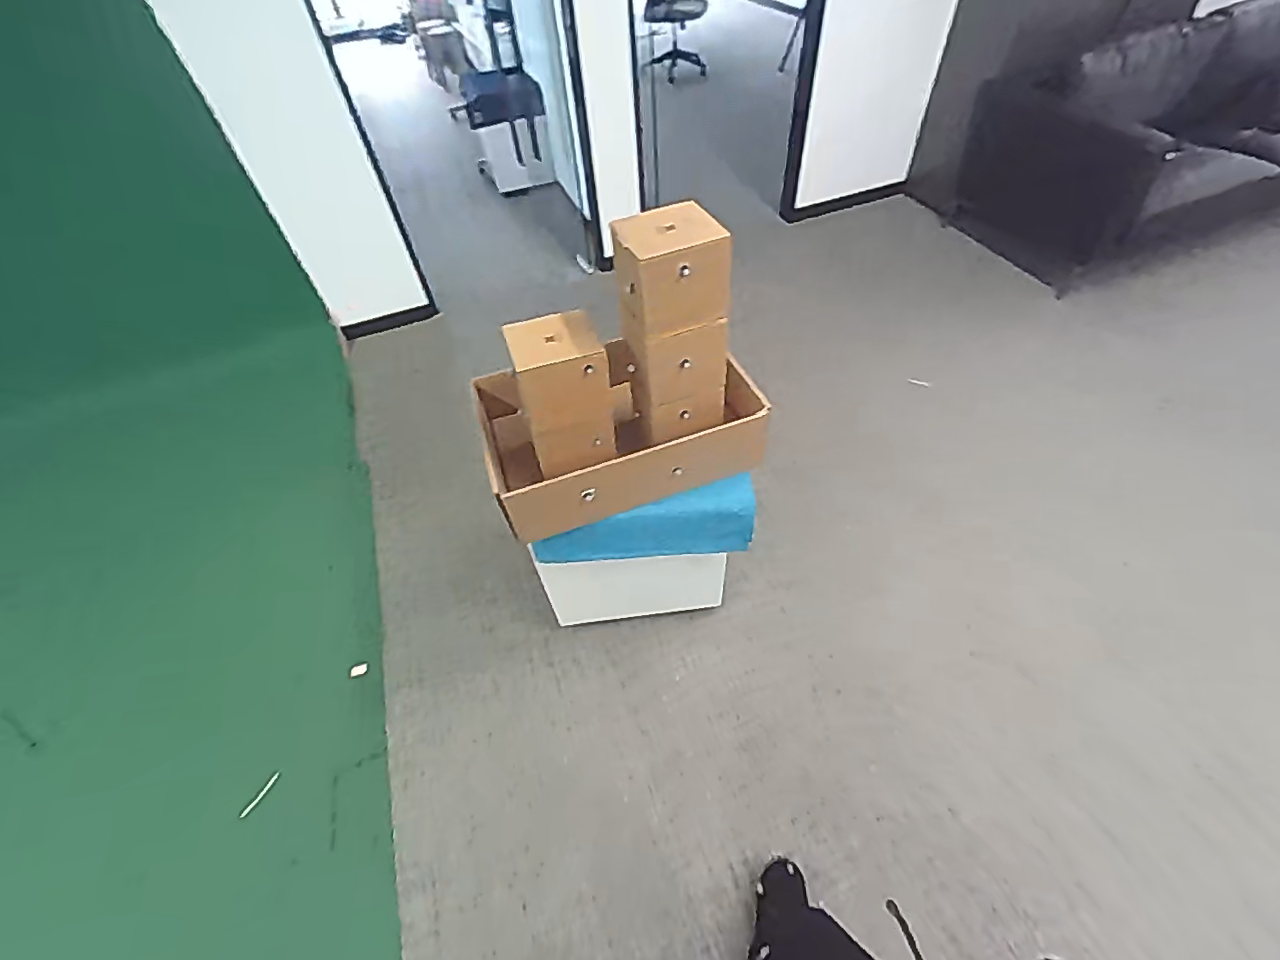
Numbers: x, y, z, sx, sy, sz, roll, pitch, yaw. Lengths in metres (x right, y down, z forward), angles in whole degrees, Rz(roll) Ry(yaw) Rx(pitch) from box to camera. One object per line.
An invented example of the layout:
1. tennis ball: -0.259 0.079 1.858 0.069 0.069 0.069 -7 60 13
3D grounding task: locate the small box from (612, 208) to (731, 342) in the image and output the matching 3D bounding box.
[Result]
1. small box: 0.061 -0.389 1.035 0.179 0.176 0.168 -18 49 -9

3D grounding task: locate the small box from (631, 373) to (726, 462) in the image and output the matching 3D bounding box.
1. small box: 0.092 -0.168 1.273 0.179 0.176 0.168 -18 49 -8

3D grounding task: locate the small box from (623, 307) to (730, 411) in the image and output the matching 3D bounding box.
1. small box: 0.077 -0.277 1.152 0.179 0.176 0.168 -19 49 -8
